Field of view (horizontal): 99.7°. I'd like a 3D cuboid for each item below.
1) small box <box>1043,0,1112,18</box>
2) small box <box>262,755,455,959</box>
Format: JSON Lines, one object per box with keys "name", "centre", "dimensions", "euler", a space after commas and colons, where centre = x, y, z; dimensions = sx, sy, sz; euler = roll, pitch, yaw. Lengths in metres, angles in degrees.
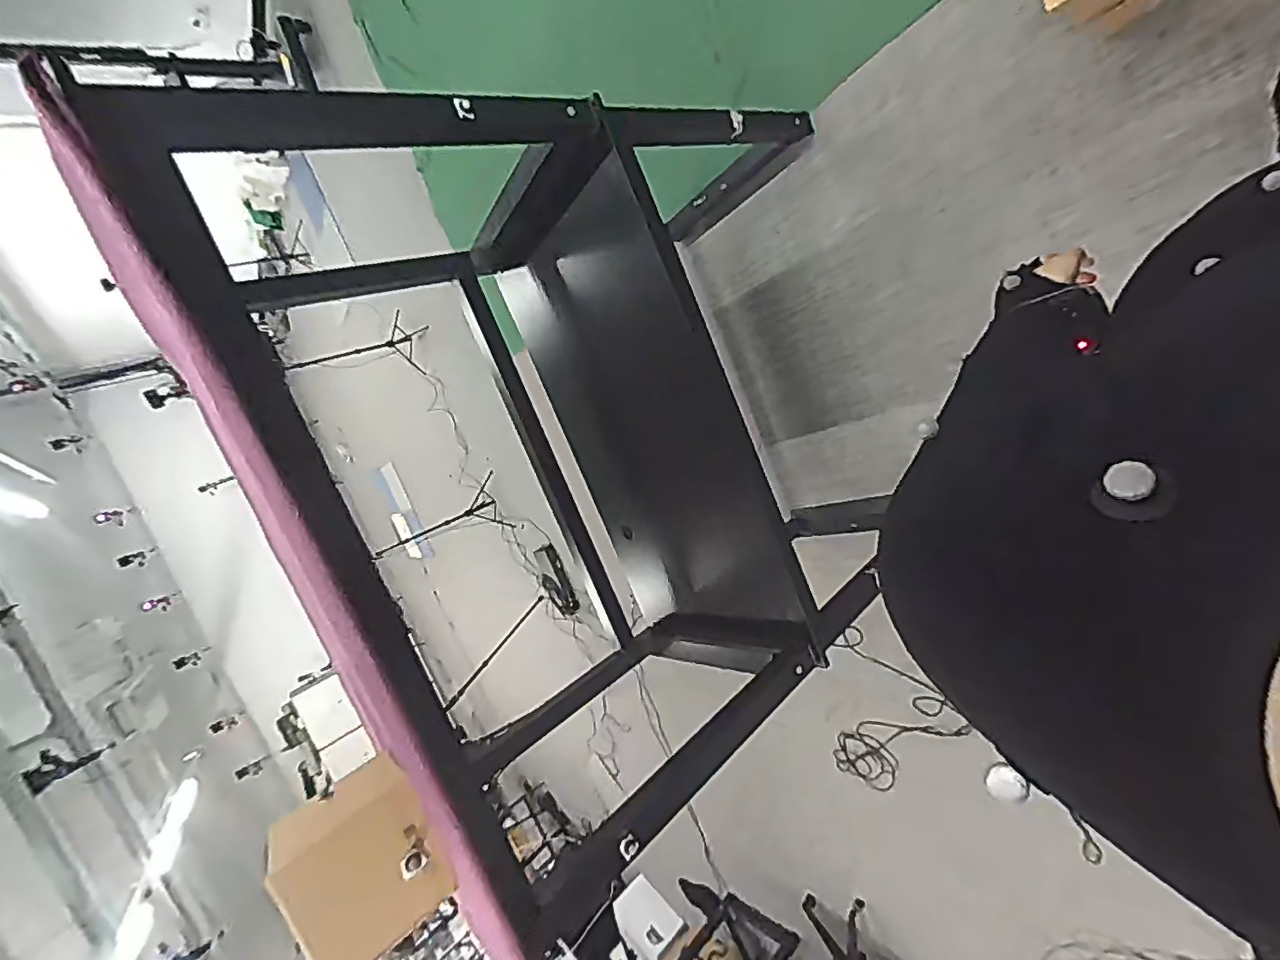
{"name": "small box", "centre": [0.686, -0.818, 0.783], "dimensions": [0.168, 0.176, 0.179], "euler": [-15, 98, 55]}
{"name": "small box", "centre": [-0.369, 0.499, 0.718], "dimensions": [0.179, 0.176, 0.168], "euler": [-22, 95, 54]}
